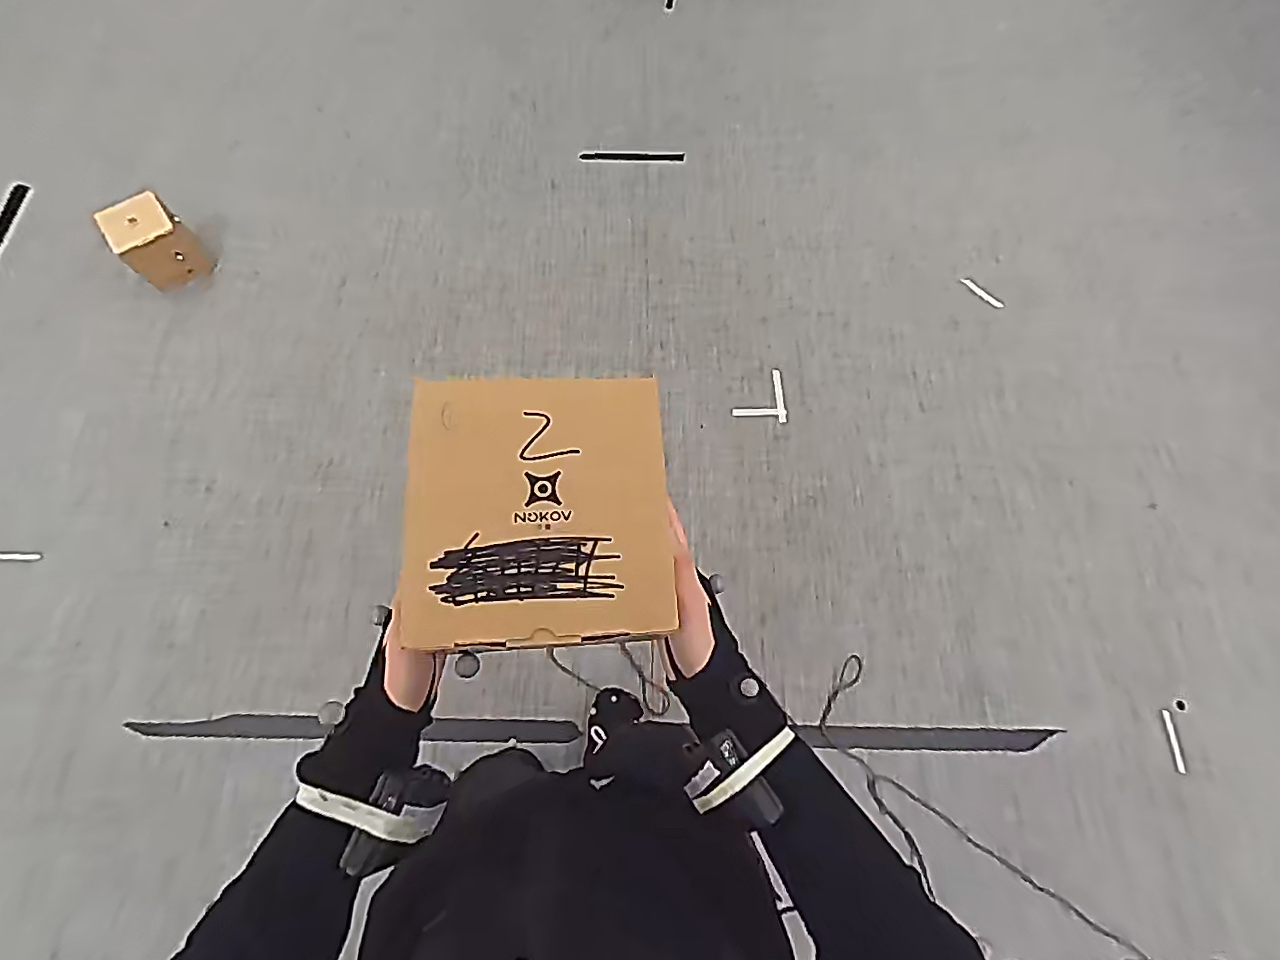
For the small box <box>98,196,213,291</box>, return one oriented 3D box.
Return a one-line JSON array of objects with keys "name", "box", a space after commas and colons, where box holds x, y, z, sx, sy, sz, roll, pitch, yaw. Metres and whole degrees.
[{"name": "small box", "box": [-1.434, -0.696, 1.614, 0.168, 0.176, 0.179, -35, 74, -14]}]
